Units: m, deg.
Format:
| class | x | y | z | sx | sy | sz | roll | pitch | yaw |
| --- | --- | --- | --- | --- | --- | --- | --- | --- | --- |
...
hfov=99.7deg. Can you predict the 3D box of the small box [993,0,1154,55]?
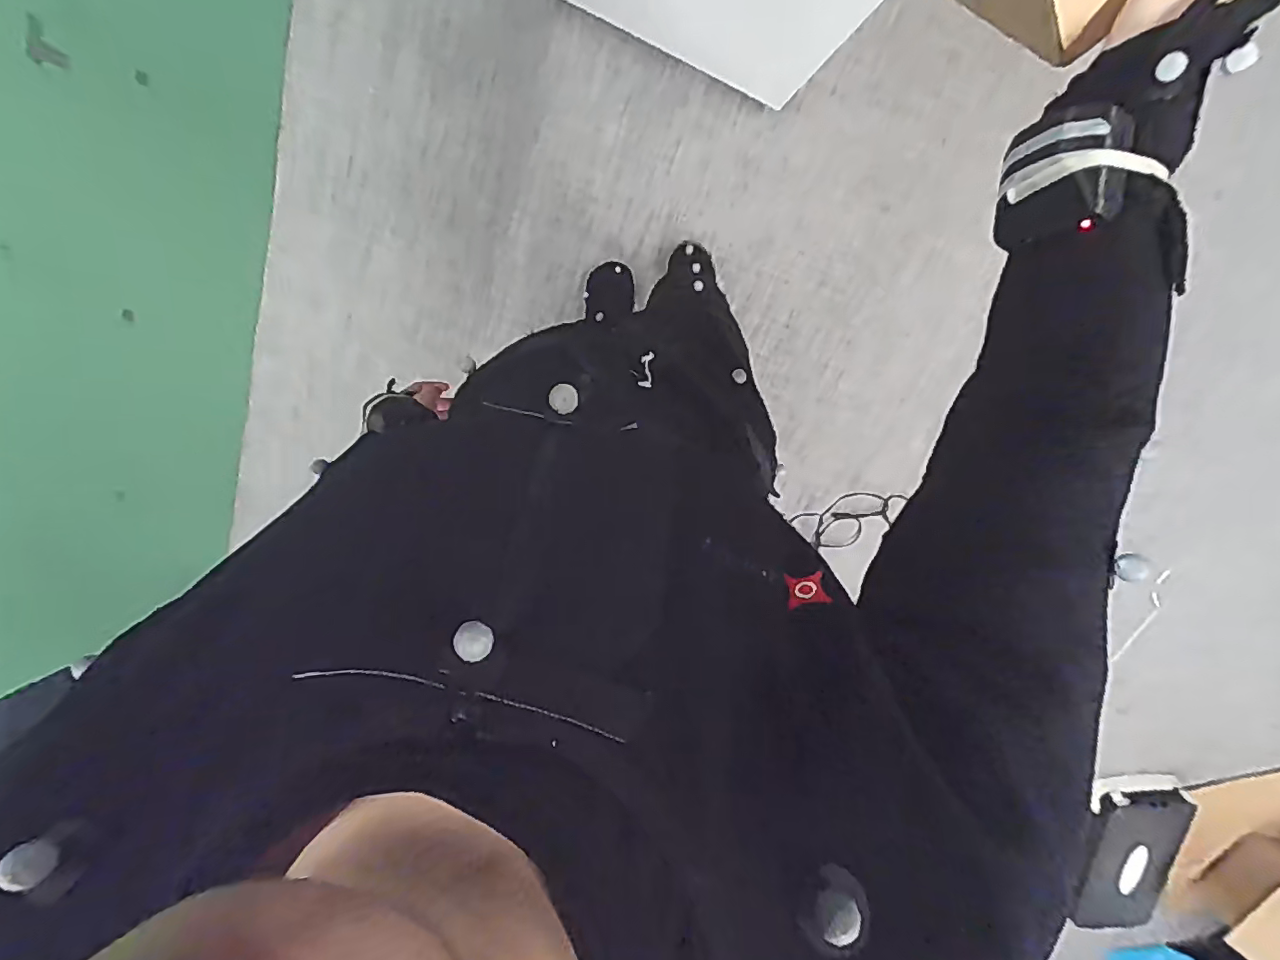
| class | x | y | z | sx | sy | sz | roll | pitch | yaw |
| --- | --- | --- | --- | --- | --- | --- | --- | --- | --- |
| small box | 0.254 | -0.387 | 0.278 | 0.168 | 0.176 | 0.179 | -33 | 137 | 29 |
